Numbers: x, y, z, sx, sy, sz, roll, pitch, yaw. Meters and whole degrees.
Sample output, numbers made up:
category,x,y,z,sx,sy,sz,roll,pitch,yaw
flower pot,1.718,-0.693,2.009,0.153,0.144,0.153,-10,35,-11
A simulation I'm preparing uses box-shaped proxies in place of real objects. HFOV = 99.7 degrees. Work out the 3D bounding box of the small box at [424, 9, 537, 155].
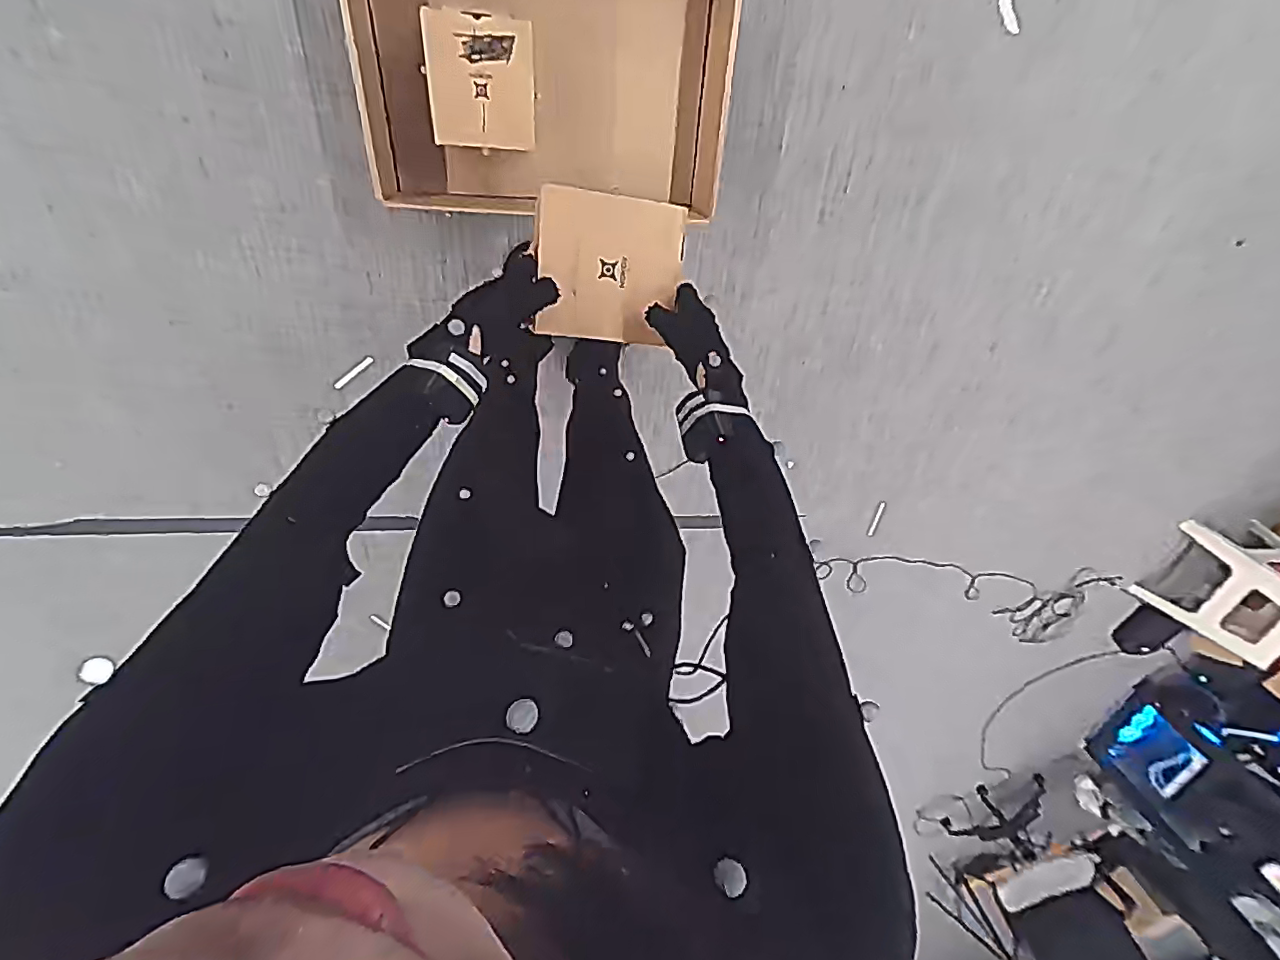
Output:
category,x,y,z,sx,sy,sz,roll,pitch,yaw
small box,-0.263,-0.668,0.924,0.168,0.176,0.179,-2,124,-11

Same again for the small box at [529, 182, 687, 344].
category,x,y,z,sx,sy,sz,roll,pitch,yaw
small box,-0.053,-0.276,0.721,0.179,0.176,0.168,2,105,-14
